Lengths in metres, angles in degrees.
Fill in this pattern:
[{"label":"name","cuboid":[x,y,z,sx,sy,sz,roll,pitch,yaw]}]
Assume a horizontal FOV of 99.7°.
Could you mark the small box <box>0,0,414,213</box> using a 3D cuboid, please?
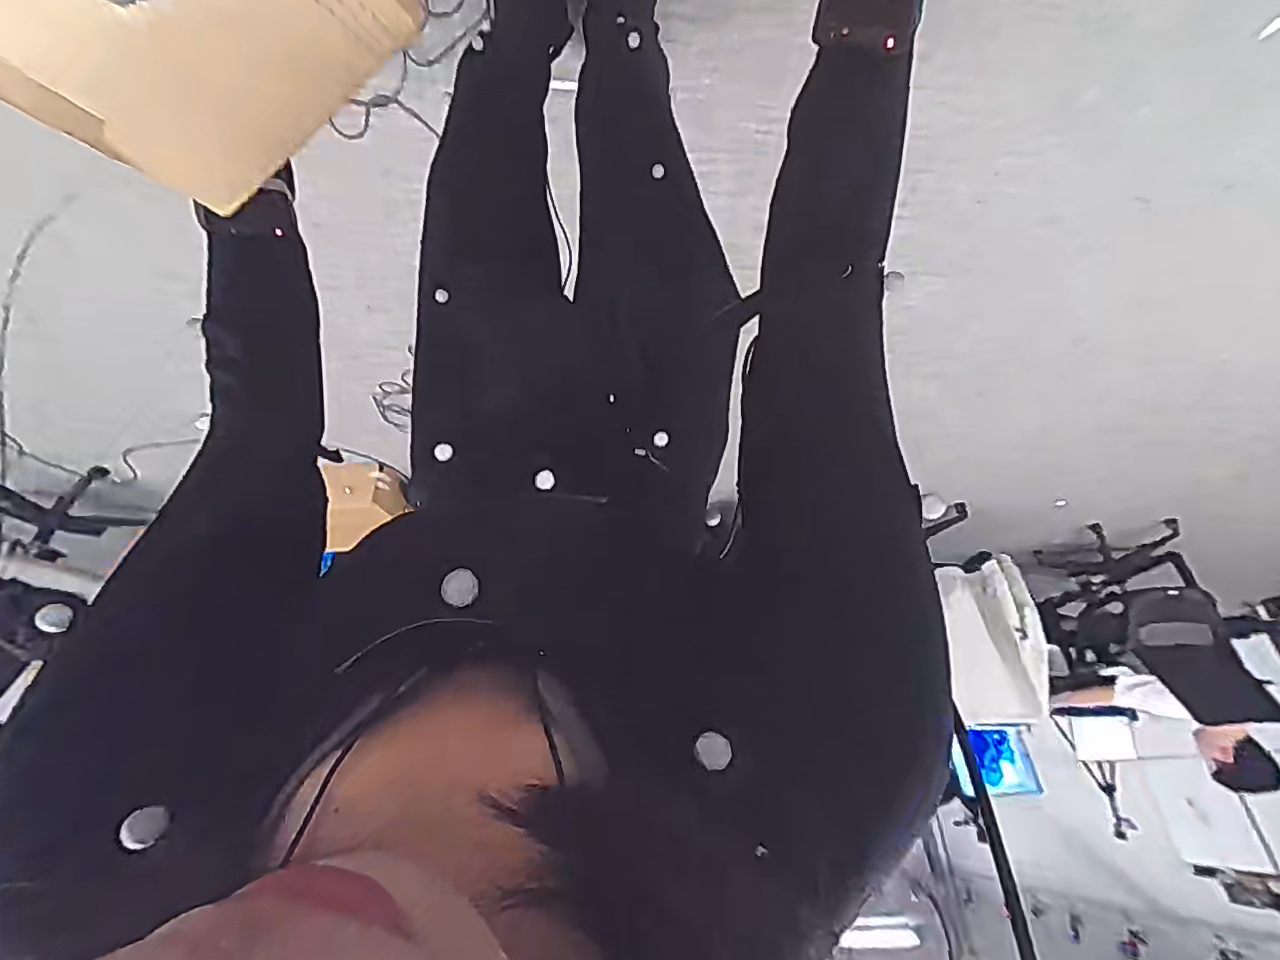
[{"label":"small box","cuboid":[-0.219,-0.268,0.229,0.176,0.179,0.168,-21,158,20]}]
